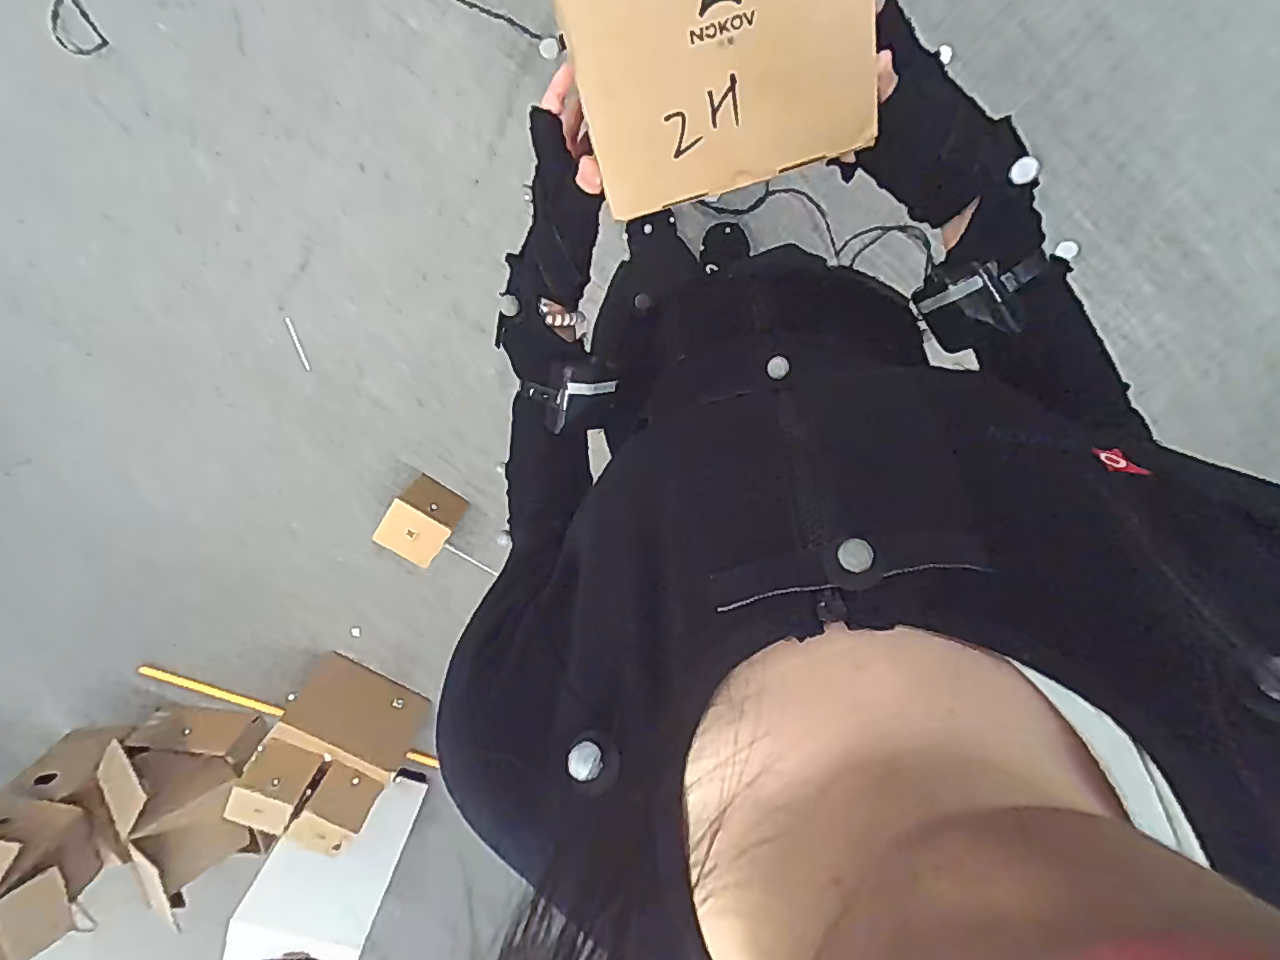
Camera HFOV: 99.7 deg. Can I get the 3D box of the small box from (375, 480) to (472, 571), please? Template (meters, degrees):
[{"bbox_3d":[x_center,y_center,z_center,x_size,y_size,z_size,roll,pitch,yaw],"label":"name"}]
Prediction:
[{"bbox_3d":[-0.622,0.123,1.569,0.179,0.176,0.168,34,112,-14],"label":"small box"}]

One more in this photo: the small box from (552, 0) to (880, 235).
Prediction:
[{"bbox_3d":[0.036,-0.279,0.349,0.168,0.176,0.179,-14,122,5],"label":"small box"}]
